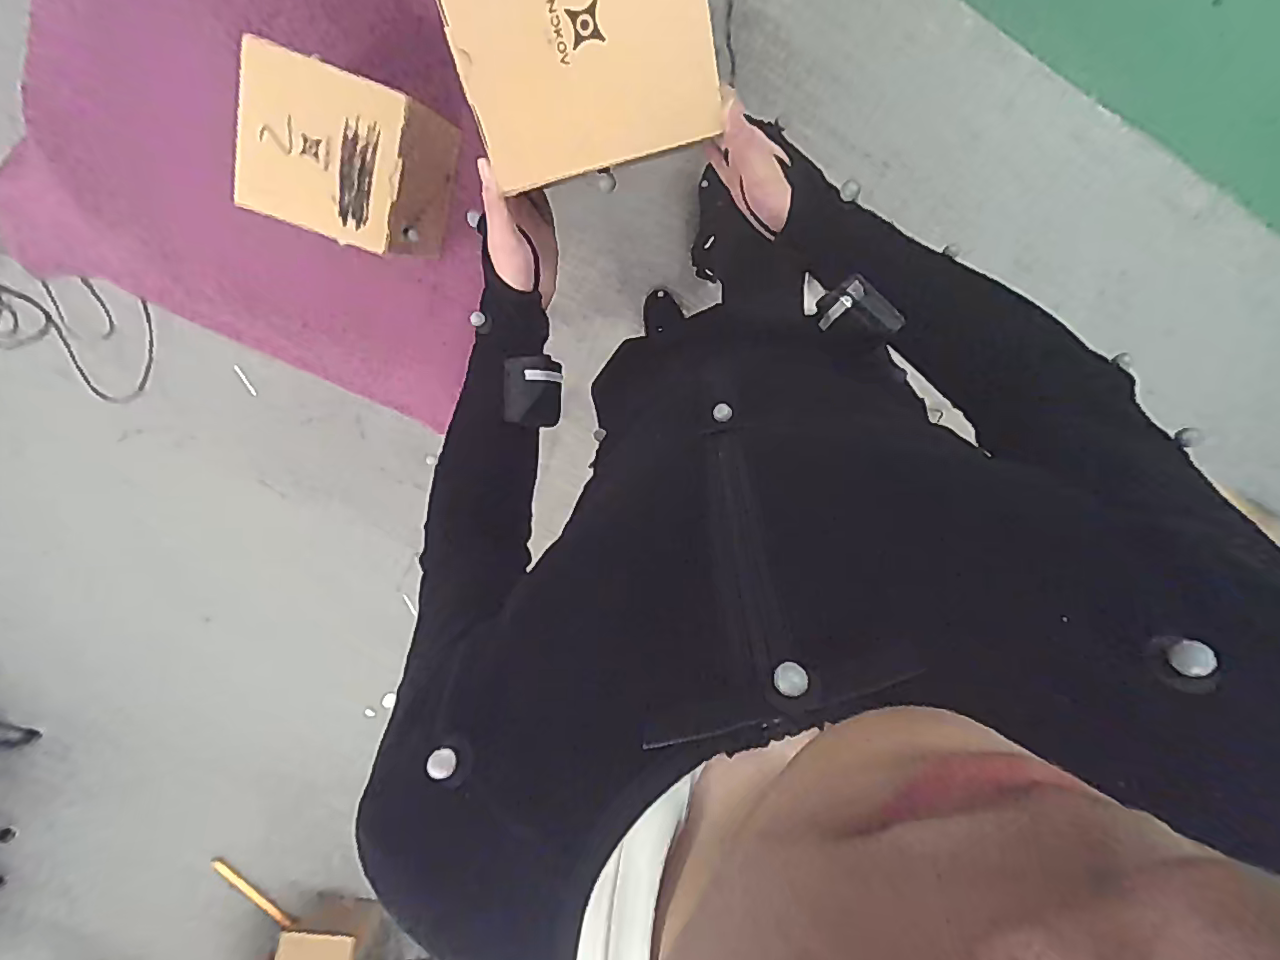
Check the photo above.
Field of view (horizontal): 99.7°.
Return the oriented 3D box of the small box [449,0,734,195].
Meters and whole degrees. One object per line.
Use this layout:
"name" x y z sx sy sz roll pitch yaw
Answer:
"small box" -0.032 -0.343 0.430 0.179 0.176 0.168 -10 120 9
